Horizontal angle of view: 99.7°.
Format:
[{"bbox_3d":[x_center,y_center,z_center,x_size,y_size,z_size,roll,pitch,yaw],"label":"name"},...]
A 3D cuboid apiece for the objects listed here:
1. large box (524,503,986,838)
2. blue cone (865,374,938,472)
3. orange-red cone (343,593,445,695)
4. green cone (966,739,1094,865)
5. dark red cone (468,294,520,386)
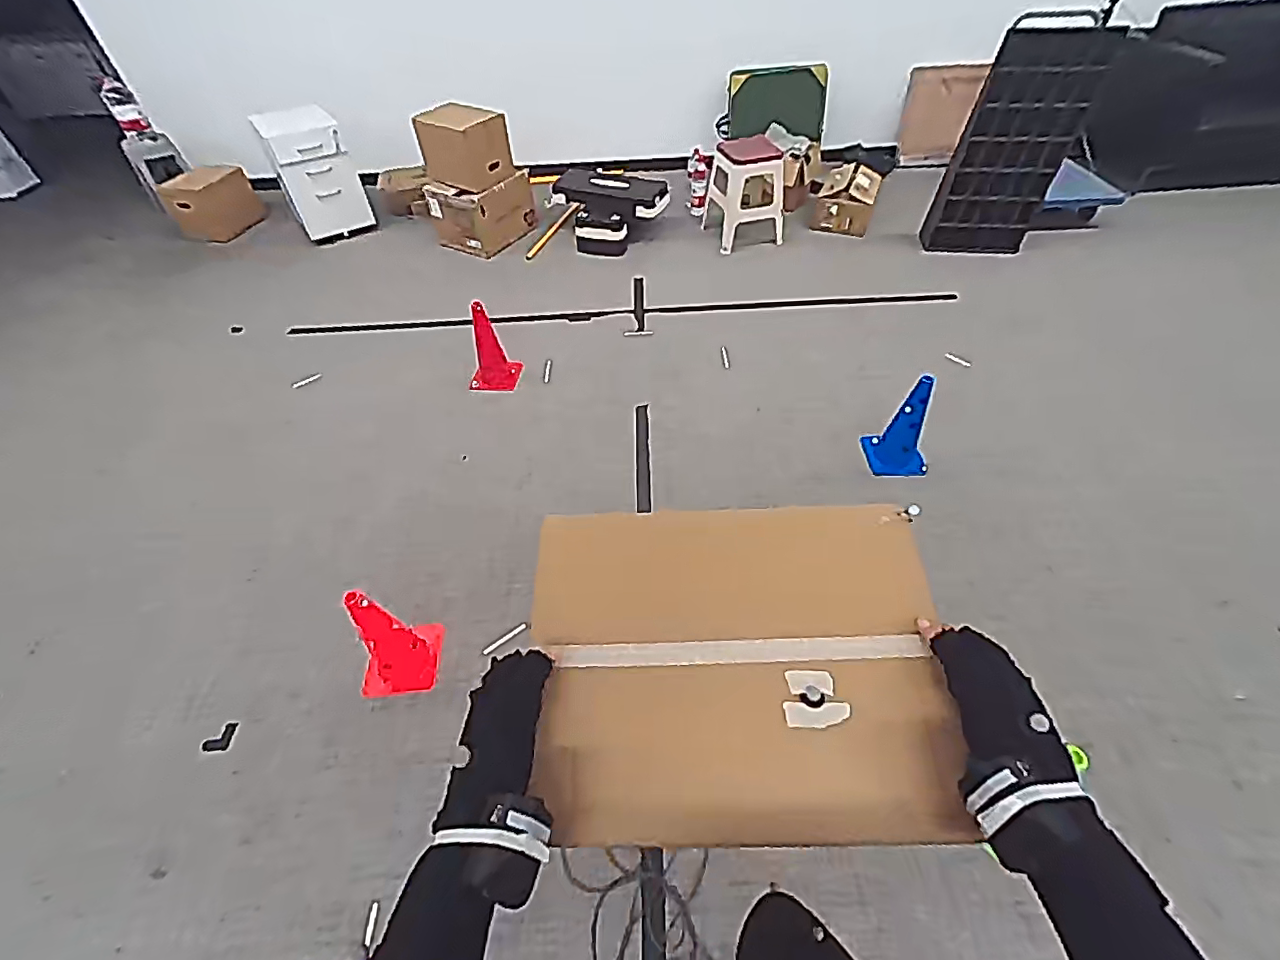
[{"bbox_3d":[0.099,0.245,0.663,0.408,0.320,0.320,-2,58,3],"label":"large box"},{"bbox_3d":[0.940,-0.209,1.886,0.192,0.380,0.193,0,49,2],"label":"blue cone"},{"bbox_3d":[-0.675,0.399,1.413,0.198,0.360,0.199,-5,50,0],"label":"orange-red cone"},{"bbox_3d":[0.820,0.623,1.128,0.202,0.368,0.200,-32,55,-25],"label":"green cone"},{"bbox_3d":[-0.643,-0.588,2.259,0.201,0.394,0.202,2,49,4],"label":"dark red cone"}]
